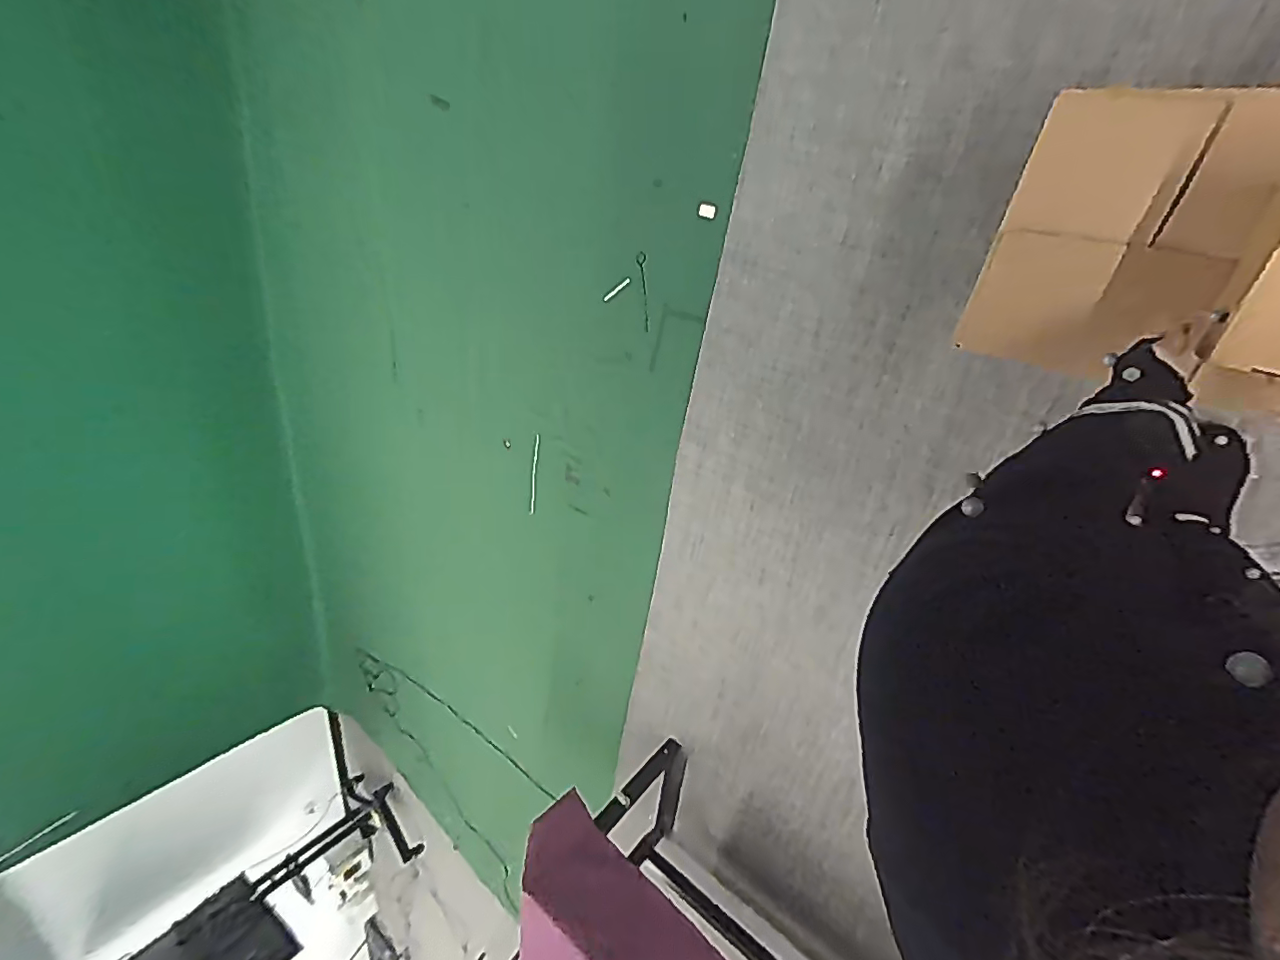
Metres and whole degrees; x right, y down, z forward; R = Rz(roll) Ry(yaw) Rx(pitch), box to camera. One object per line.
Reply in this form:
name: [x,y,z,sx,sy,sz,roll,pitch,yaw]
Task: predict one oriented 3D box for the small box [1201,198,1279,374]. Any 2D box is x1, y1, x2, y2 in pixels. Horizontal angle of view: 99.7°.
small box: [0.657,-0.179,0.485,0.168,0.176,0.179,28,122,33]
